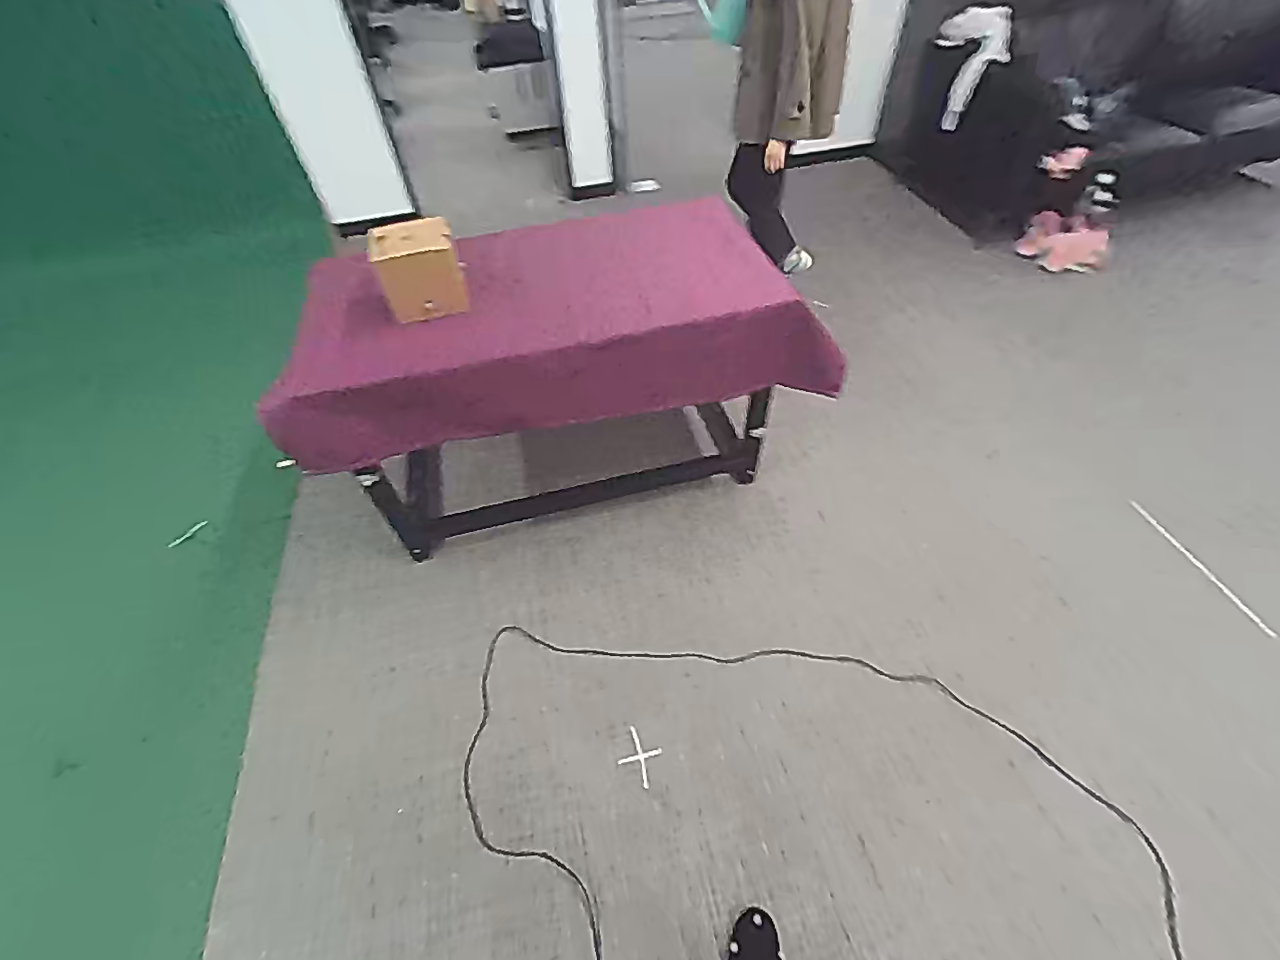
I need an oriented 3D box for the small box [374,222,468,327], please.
[{"bbox_3d":[-0.532,-0.504,1.333,0.179,0.176,0.168,-15,51,-9],"label":"small box"}]
